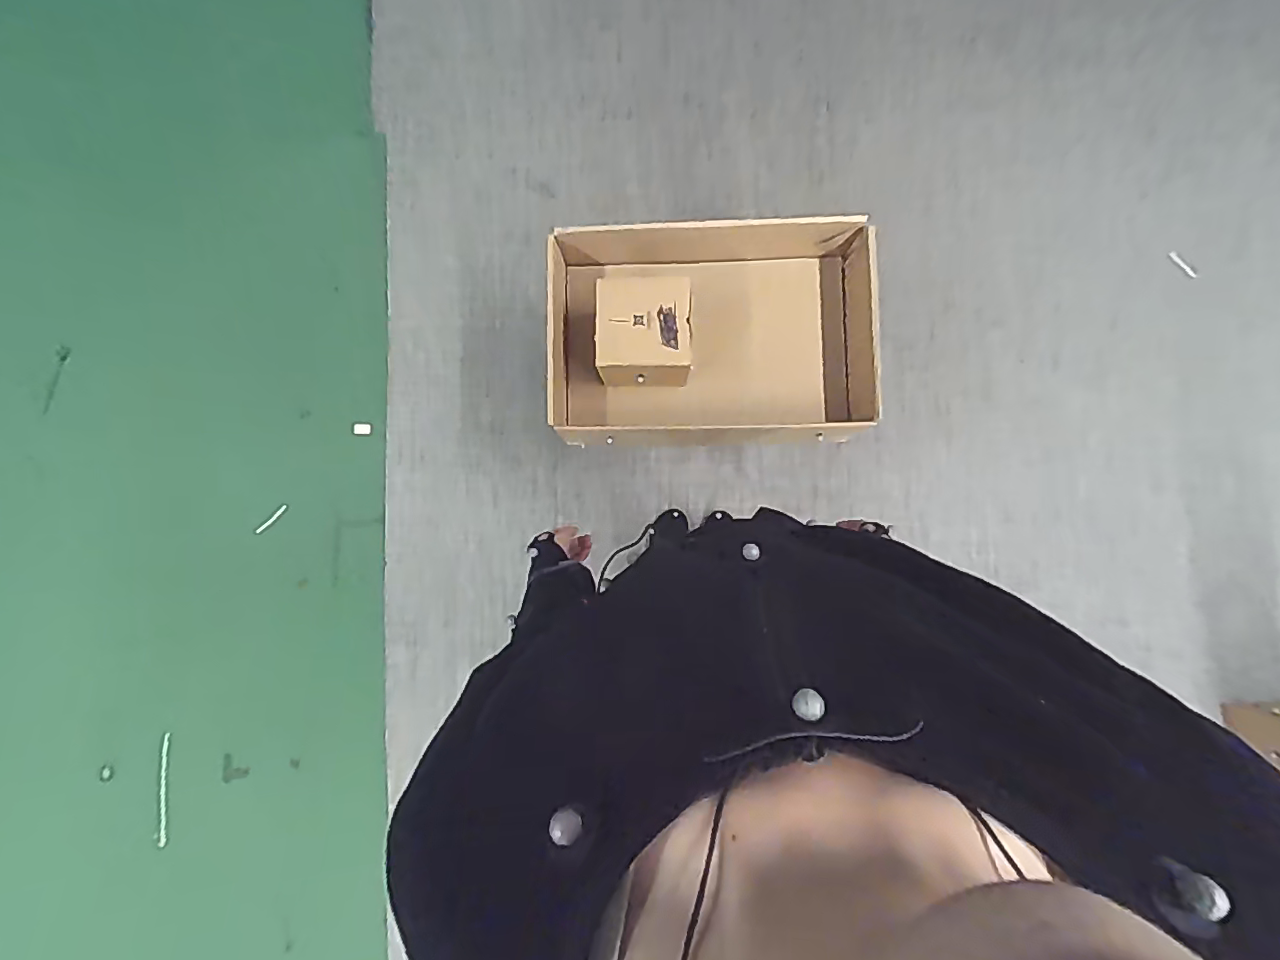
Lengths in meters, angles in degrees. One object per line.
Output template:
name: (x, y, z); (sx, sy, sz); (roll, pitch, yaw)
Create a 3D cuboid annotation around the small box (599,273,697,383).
small box: (0.017, -0.289, 1.054); (0.179, 0.176, 0.168); (0, 86, 3)

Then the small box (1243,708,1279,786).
small box: (1.646, 0.668, 1.320); (0.168, 0.176, 0.179); (-3, 86, 3)
